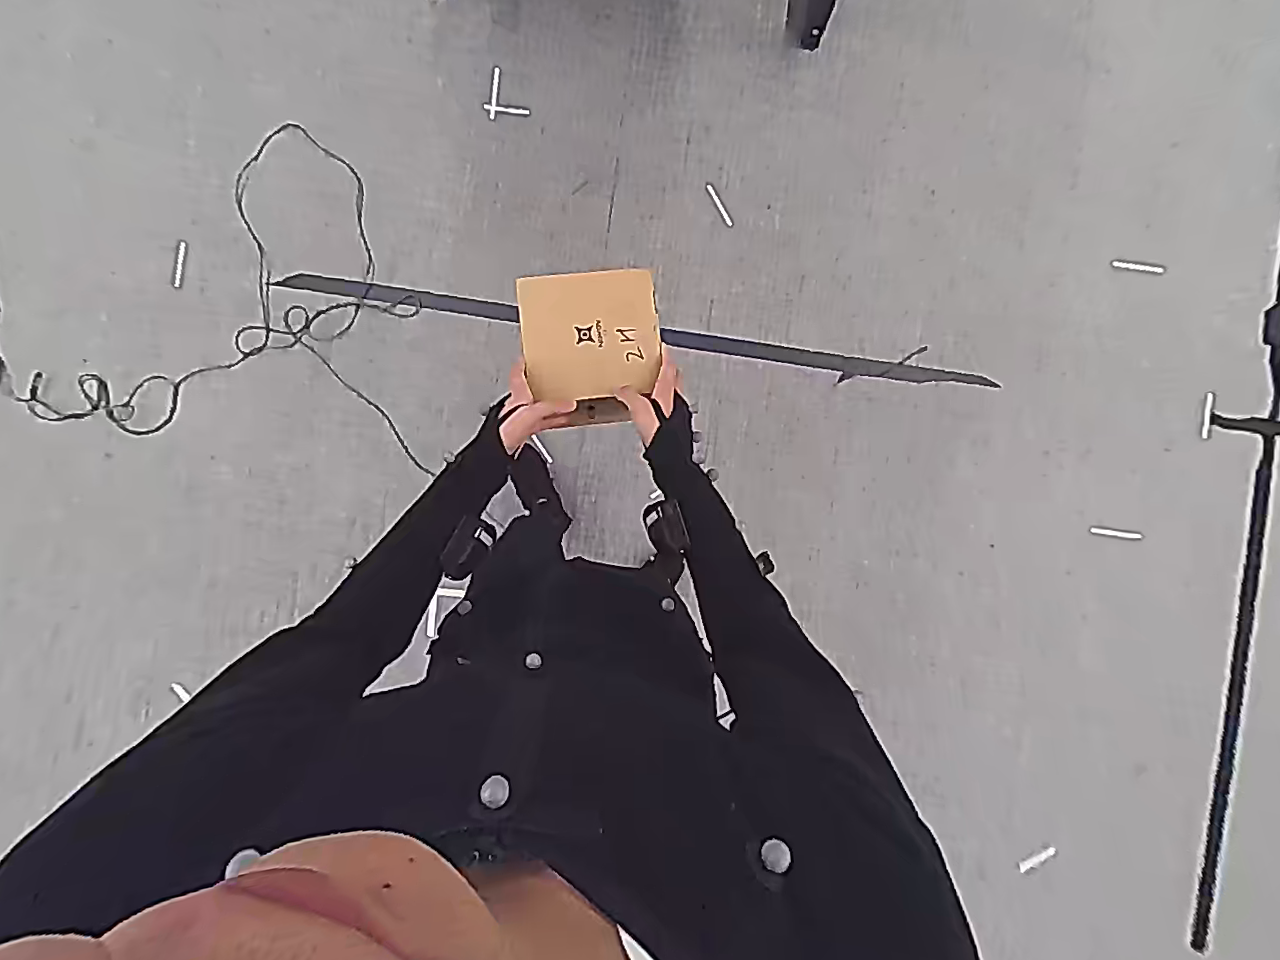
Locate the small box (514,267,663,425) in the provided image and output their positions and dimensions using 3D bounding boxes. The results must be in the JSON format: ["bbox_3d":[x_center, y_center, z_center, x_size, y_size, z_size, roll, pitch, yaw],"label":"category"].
[{"bbox_3d":[-0.070,-0.177,0.759,0.179,0.176,0.168,-6,86,-5],"label":"small box"}]
